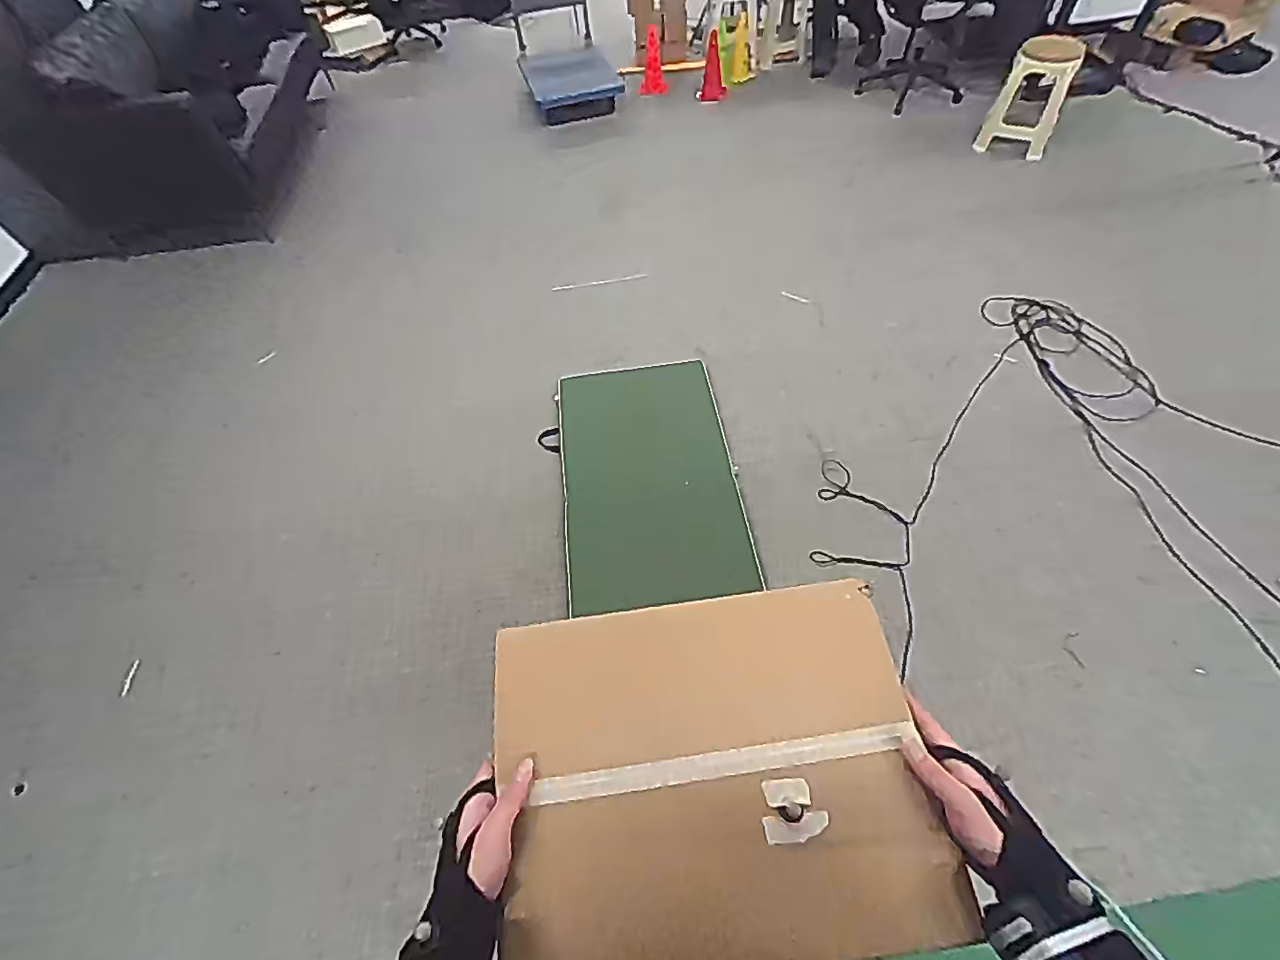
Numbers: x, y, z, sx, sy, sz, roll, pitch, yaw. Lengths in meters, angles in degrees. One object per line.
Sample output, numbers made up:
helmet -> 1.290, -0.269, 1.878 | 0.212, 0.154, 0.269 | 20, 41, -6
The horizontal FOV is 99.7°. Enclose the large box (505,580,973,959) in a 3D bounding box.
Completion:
large box -> 0.075, 0.347, 0.655 | 0.408, 0.320, 0.320 | -8, 61, -2
